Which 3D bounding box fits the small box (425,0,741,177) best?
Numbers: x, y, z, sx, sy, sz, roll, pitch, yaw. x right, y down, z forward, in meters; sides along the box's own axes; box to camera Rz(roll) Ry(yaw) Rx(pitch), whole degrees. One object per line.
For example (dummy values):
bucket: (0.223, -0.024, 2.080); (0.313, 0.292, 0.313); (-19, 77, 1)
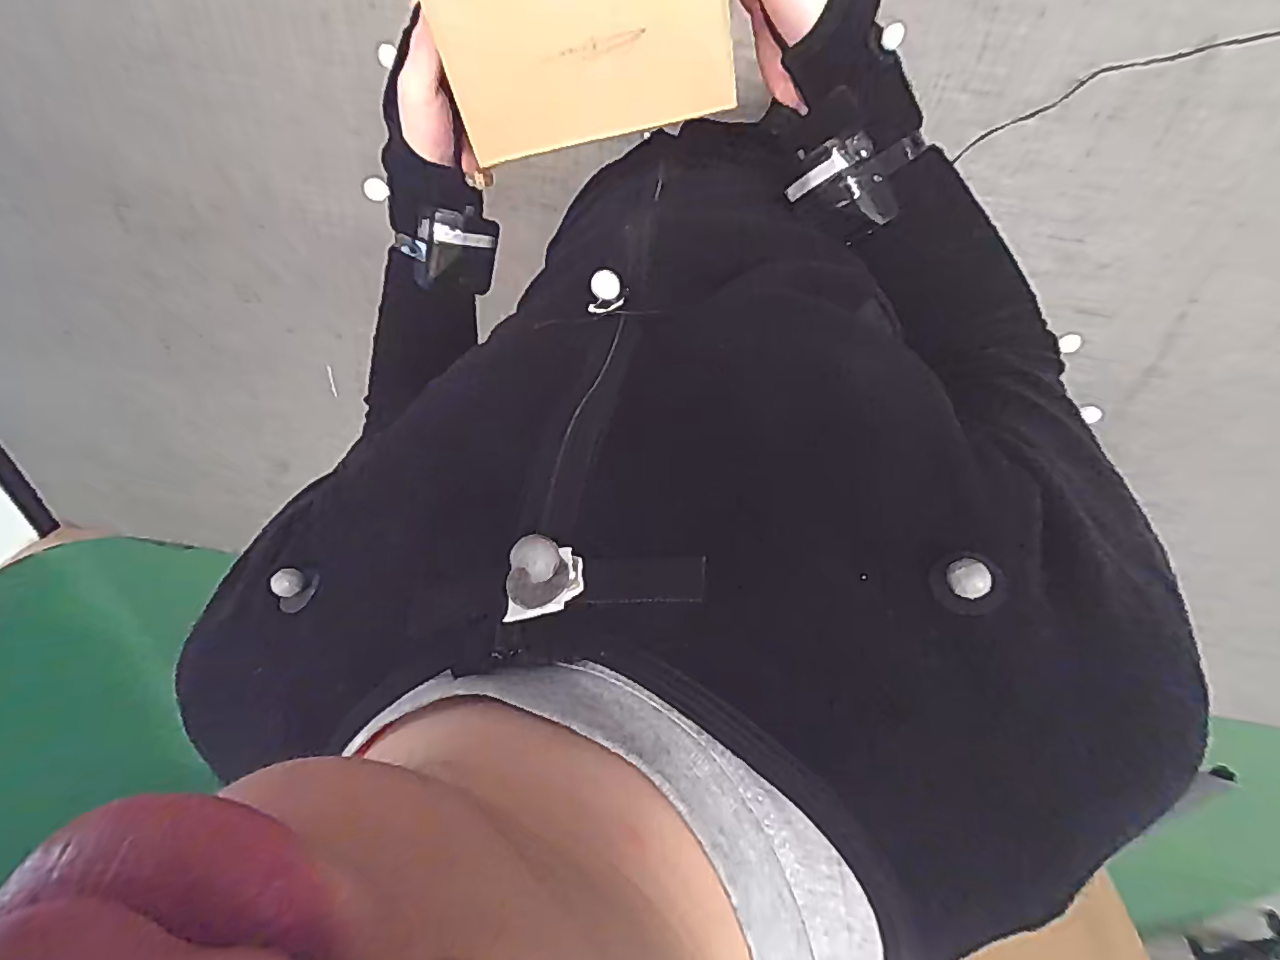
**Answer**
small box: (-0.029, -0.319, 0.336); (0.168, 0.176, 0.179); (-5, 133, 12)
